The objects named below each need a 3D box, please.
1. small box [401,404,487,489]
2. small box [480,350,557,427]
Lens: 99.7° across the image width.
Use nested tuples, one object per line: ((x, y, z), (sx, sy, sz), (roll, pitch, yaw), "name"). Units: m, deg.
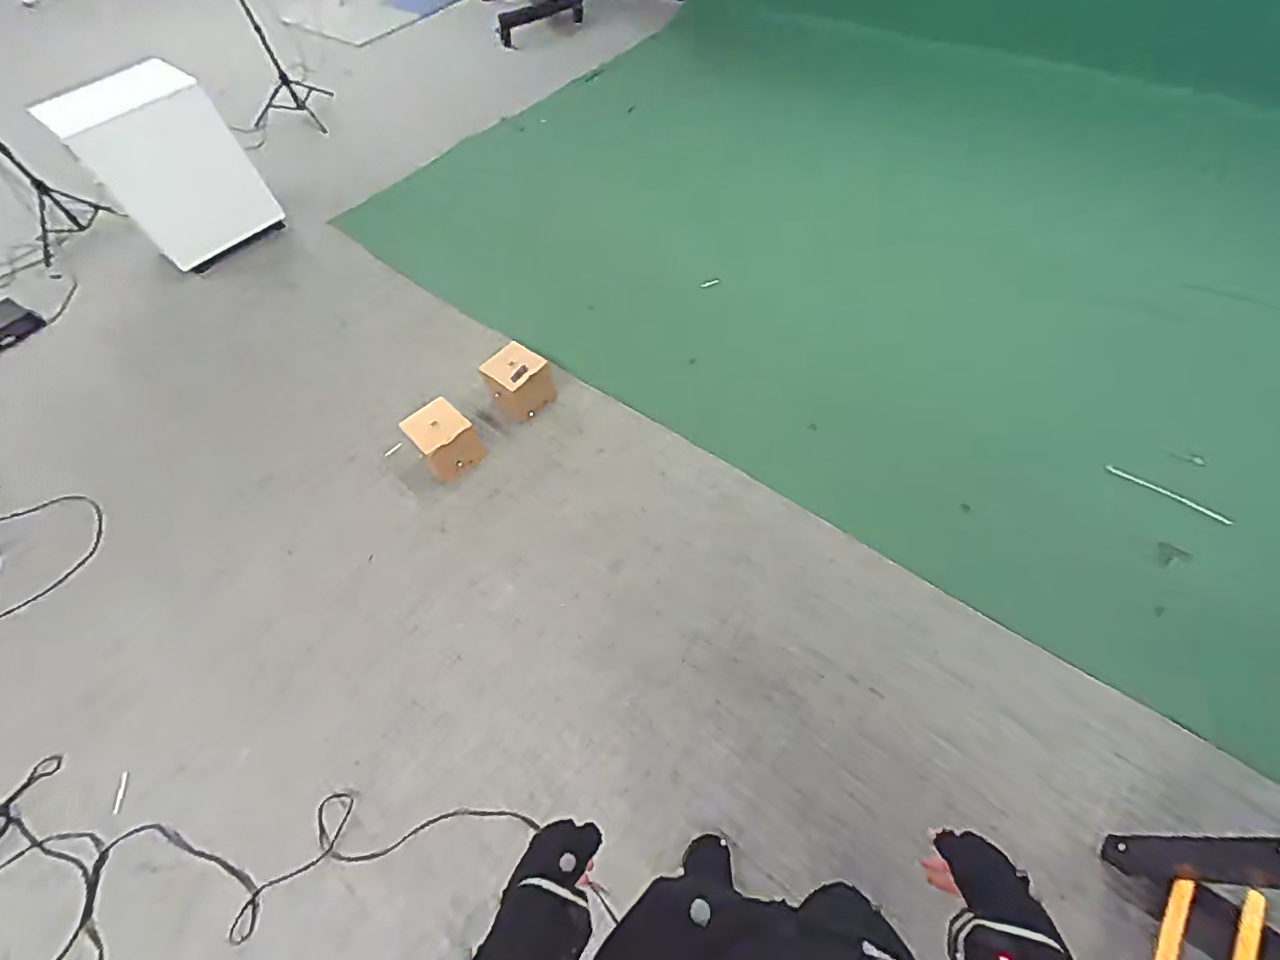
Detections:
((-0.625, -0.104, 1.740), (0.168, 0.176, 0.179), (-41, 64, -21), "small box")
((-0.410, -0.308, 1.858), (0.179, 0.176, 0.168), (34, 65, 24), "small box")
